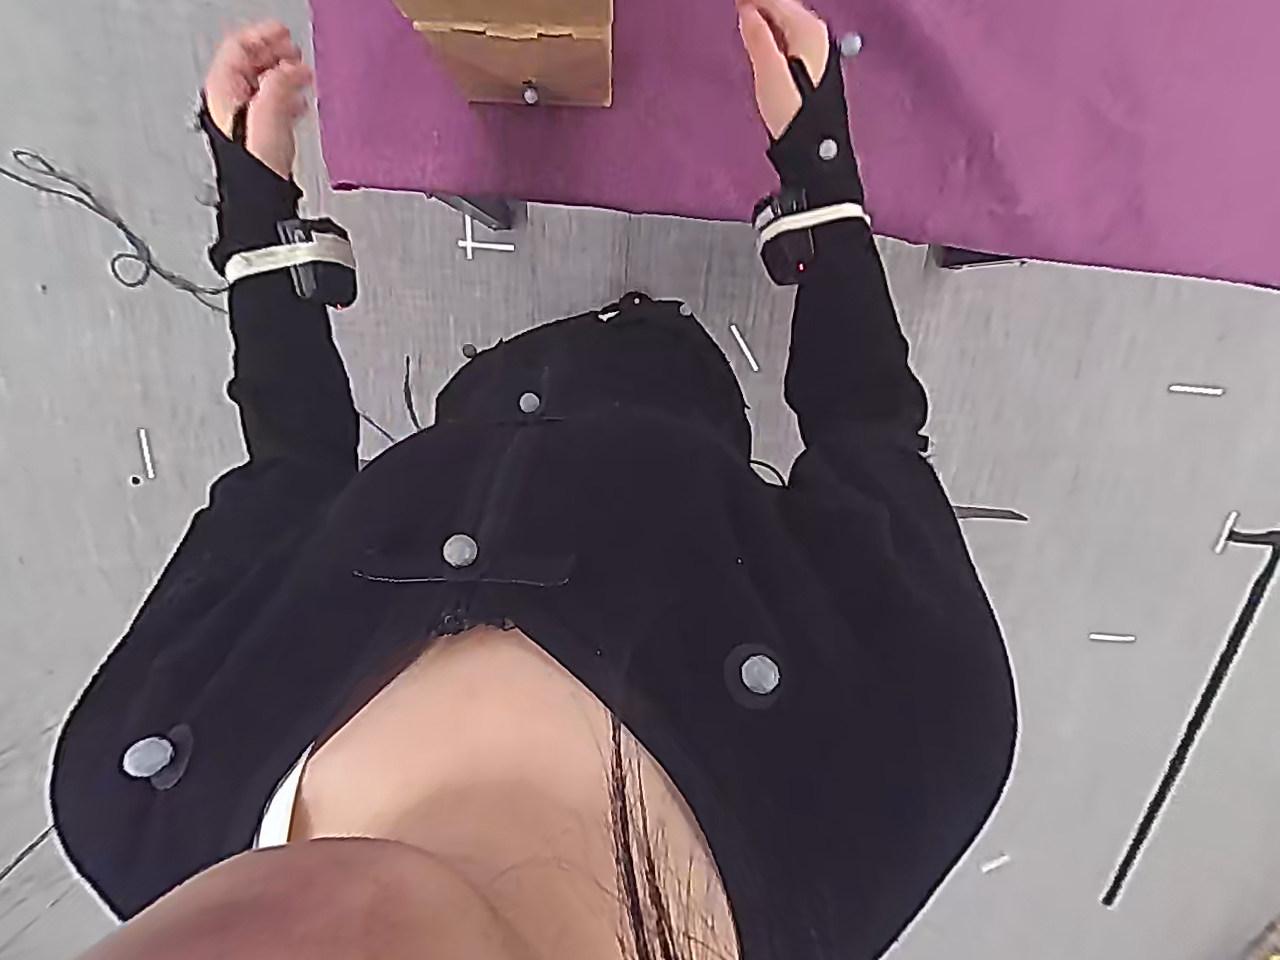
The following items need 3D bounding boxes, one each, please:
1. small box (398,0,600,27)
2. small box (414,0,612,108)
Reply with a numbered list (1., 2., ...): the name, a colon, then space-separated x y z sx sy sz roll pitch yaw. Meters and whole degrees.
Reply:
1. small box: -0.108 -0.443 0.361 0.179 0.176 0.168 0 105 -1
2. small box: -0.112 -0.490 0.516 0.168 0.176 0.179 1 107 -2
